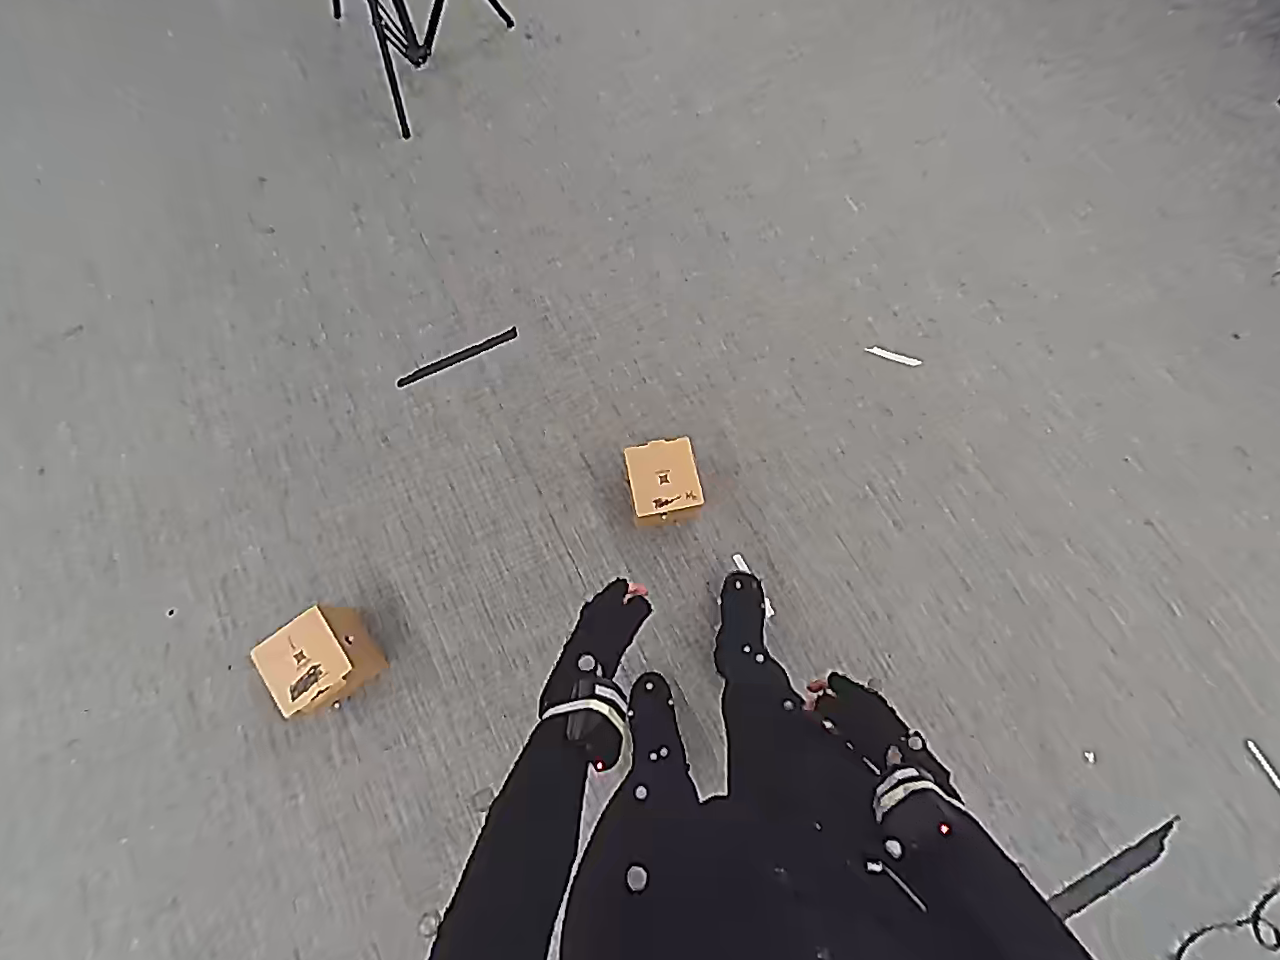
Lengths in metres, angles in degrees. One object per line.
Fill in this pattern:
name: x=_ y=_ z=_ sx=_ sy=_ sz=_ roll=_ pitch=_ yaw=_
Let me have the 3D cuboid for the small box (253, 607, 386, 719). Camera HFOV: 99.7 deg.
small box: x=-0.724 y=0.412 z=1.242 sx=0.168 sy=0.176 sz=0.179 roll=-36 pitch=77 yaw=-10

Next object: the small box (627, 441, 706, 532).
small box: x=0.059 y=0.021 z=1.370 sx=0.168 sy=0.176 sz=0.179 roll=-10 pitch=74 yaw=-4
